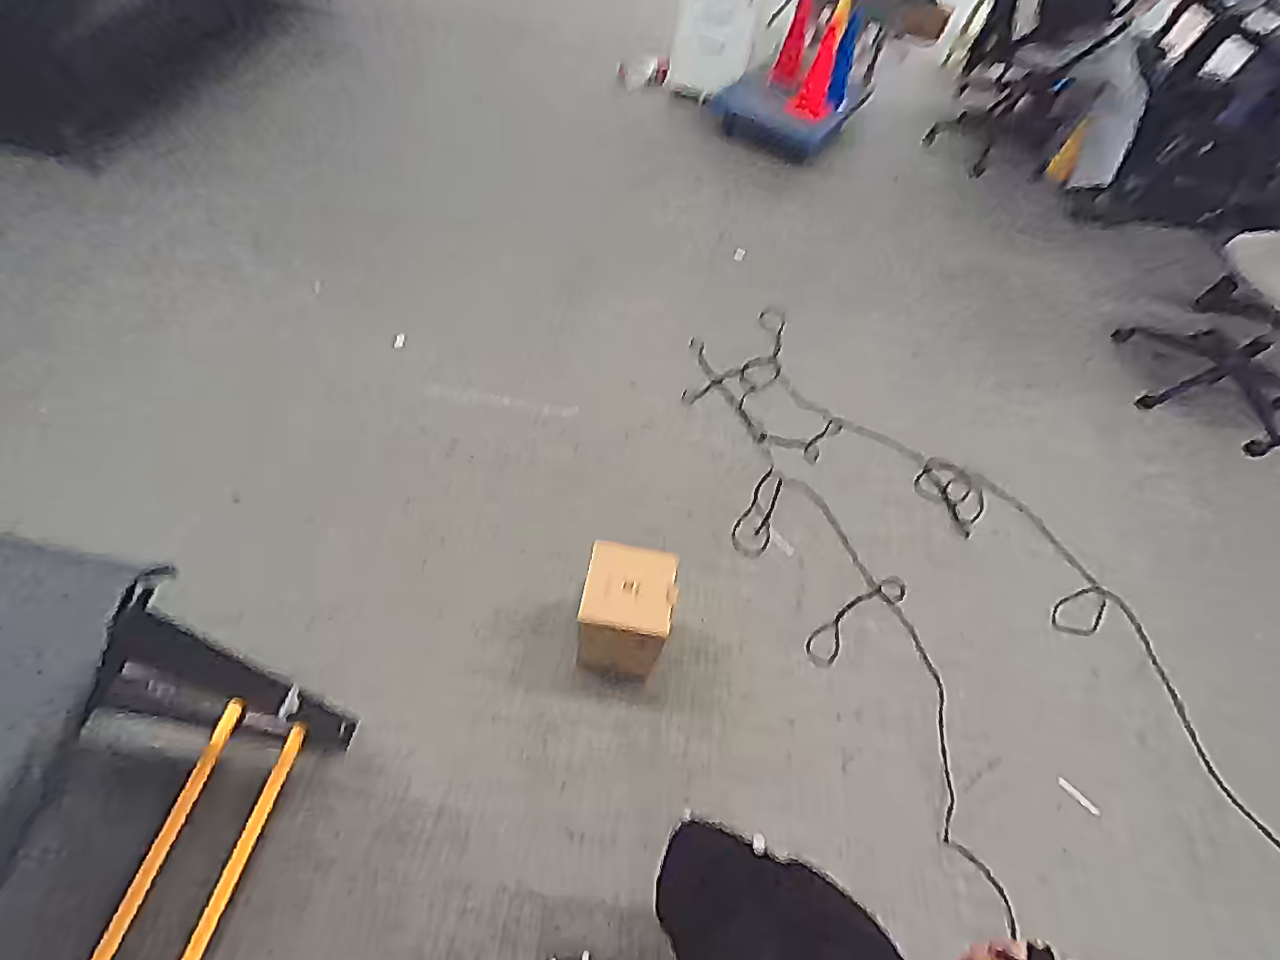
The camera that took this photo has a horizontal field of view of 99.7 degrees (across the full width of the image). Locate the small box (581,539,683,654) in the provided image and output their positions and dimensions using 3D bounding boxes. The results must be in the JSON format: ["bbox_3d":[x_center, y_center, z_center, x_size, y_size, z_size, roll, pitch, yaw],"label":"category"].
[{"bbox_3d":[-0.018,0.244,1.106,0.179,0.176,0.168,10,56,1],"label":"small box"}]

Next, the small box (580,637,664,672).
[{"bbox_3d":[-0.032,0.329,1.243,0.179,0.176,0.168,14,55,0],"label":"small box"}]
